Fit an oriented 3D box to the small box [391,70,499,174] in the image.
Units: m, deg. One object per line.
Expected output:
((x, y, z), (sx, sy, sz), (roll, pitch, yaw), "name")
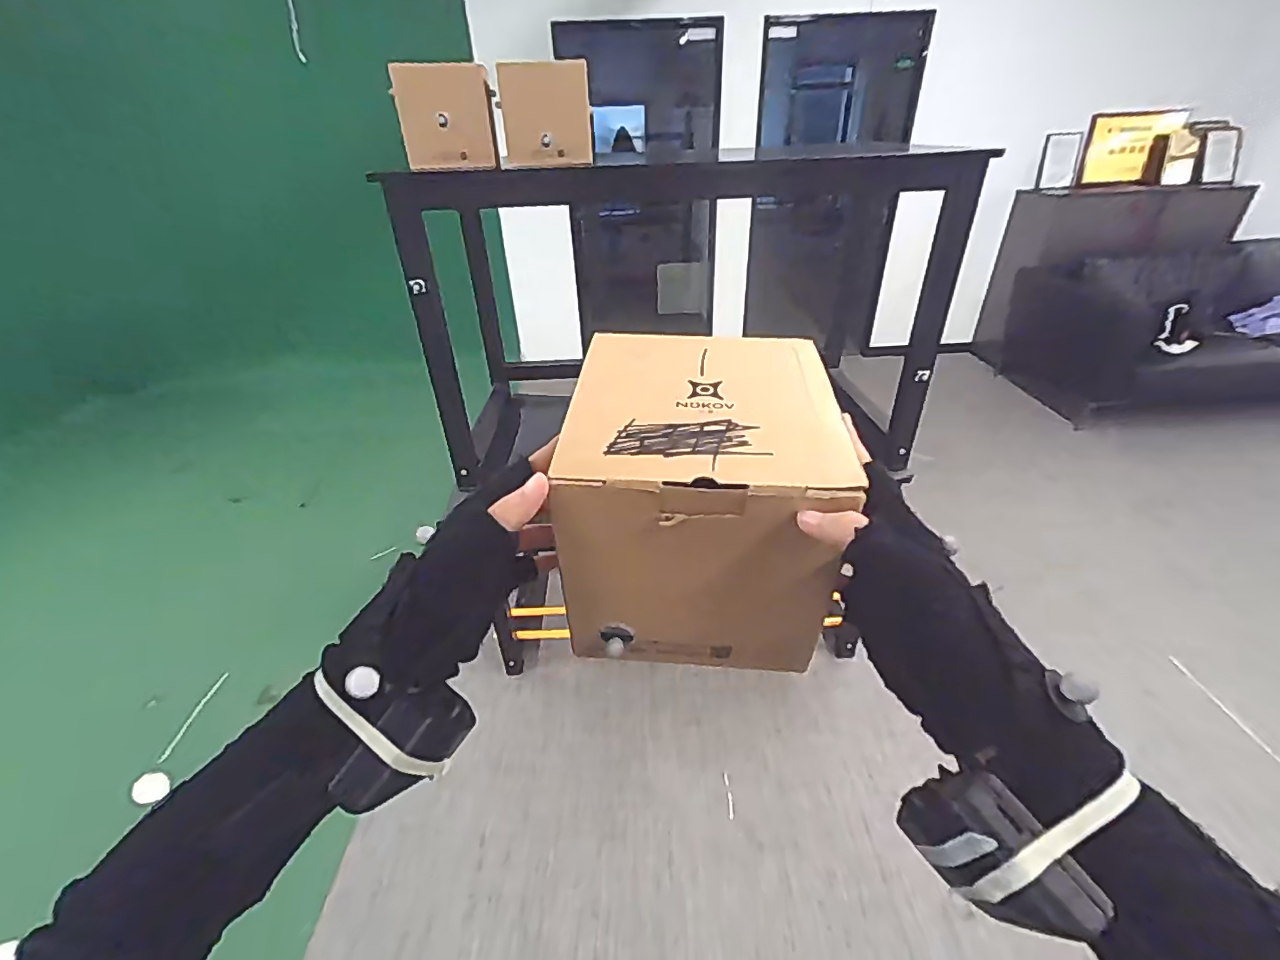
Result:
((-0.387, -0.729, 1.110), (0.168, 0.176, 0.179), (-5, 32, -7), "small box")

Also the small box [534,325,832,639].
((0.031, -0.002, 0.403), (0.168, 0.176, 0.179), (2, 38, 4), "small box")
